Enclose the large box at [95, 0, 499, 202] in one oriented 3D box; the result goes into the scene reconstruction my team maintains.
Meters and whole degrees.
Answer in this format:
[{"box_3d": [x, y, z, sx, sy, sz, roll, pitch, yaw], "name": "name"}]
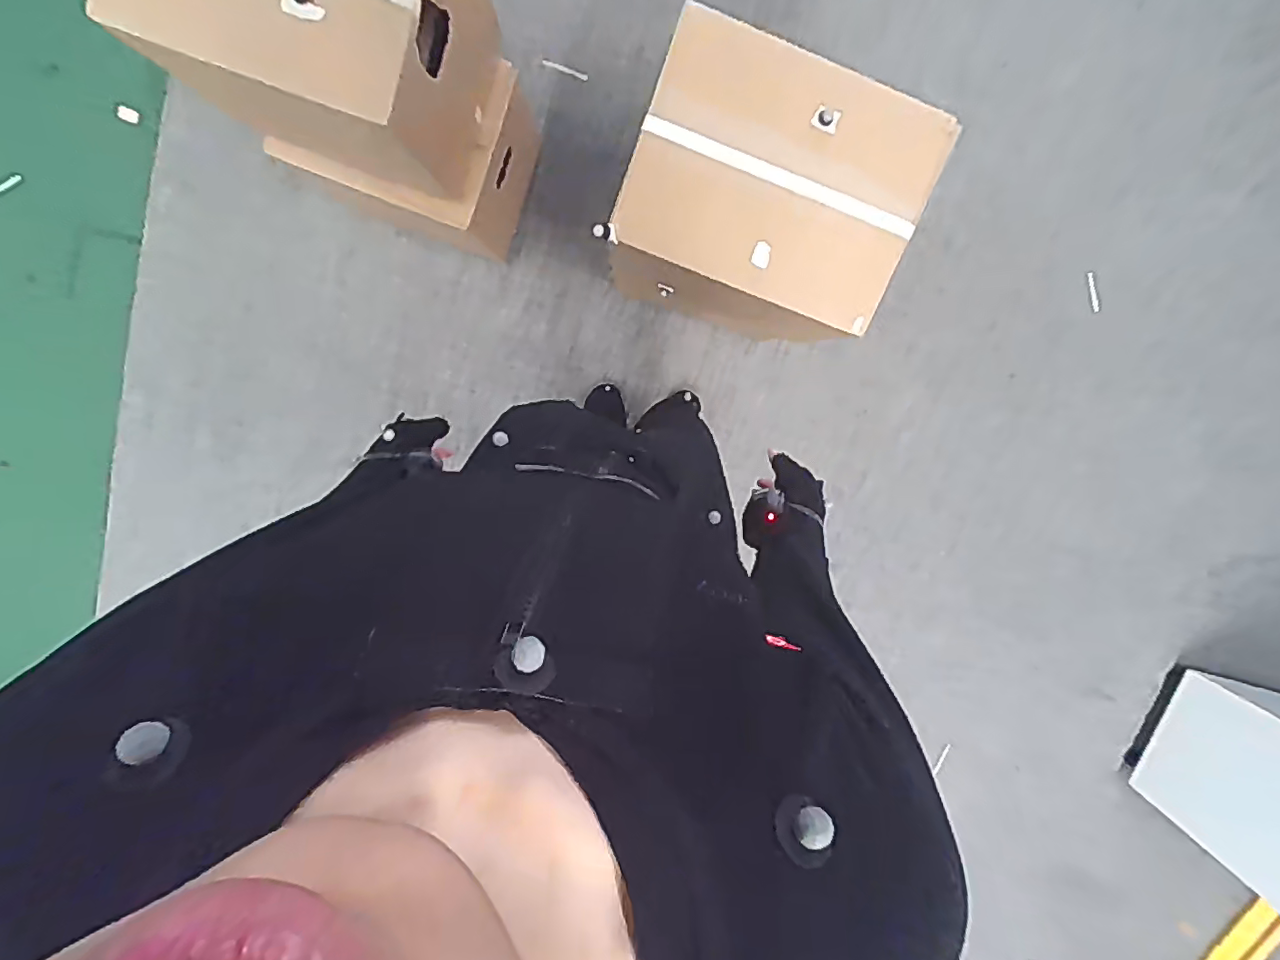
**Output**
[{"box_3d": [-0.484, -0.705, 0.848, 0.408, 0.320, 0.320, 18, 98, -5], "name": "large box"}]
